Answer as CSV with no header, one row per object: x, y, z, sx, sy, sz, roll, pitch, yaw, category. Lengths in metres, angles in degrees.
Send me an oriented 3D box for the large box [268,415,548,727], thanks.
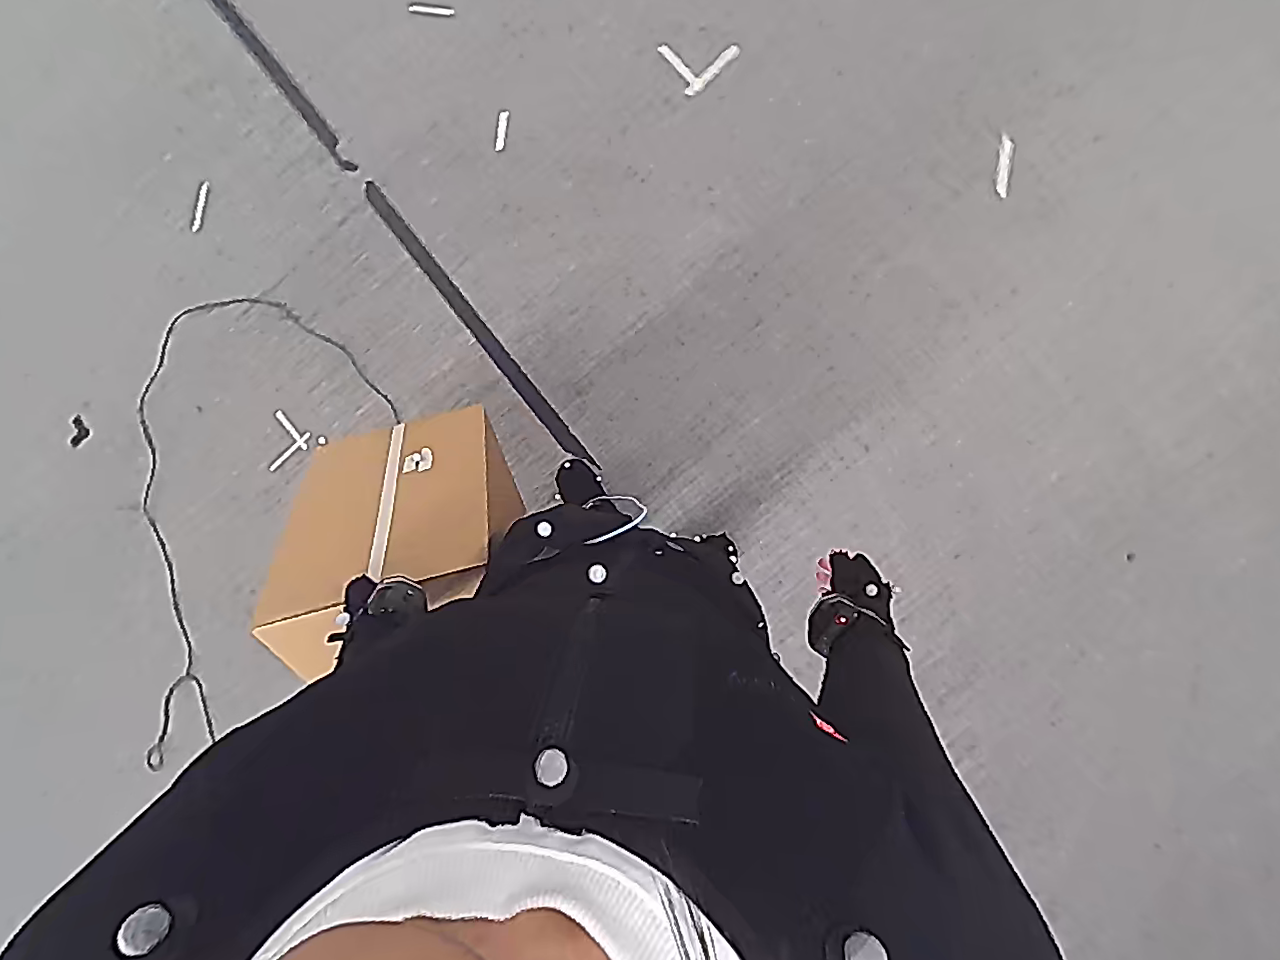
-0.373,0.148,0.971,0.320,0.408,0.320,-15,130,-4,large box
